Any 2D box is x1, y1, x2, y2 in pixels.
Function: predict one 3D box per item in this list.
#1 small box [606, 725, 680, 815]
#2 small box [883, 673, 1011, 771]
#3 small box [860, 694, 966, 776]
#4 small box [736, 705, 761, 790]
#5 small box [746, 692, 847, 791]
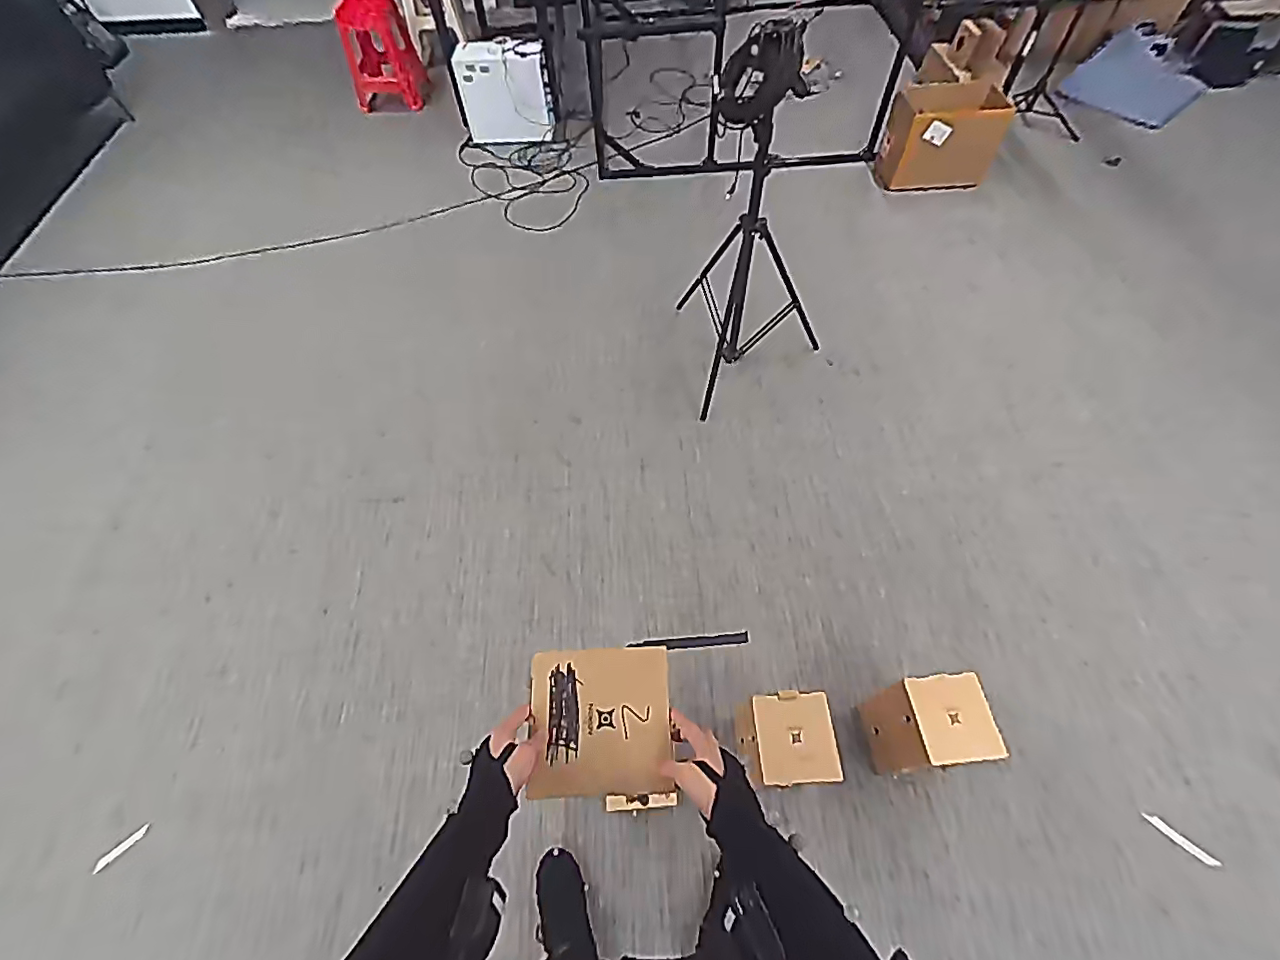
[{"bbox_3d":[0.006,0.714,1.329,0.168,0.176,0.179,-5,58,0],"label":"small box"},{"bbox_3d":[0.677,0.549,1.216,0.168,0.176,0.179,-5,57,-2],"label":"small box"},{"bbox_3d":[0.678,0.635,1.354,0.168,0.176,0.179,-6,58,-2],"label":"small box"},{"bbox_3d":[0.339,0.665,1.346,0.168,0.176,0.179,-3,59,0],"label":"small box"},{"bbox_3d":[0.336,0.584,1.203,0.168,0.176,0.179,-3,58,1],"label":"small box"}]
